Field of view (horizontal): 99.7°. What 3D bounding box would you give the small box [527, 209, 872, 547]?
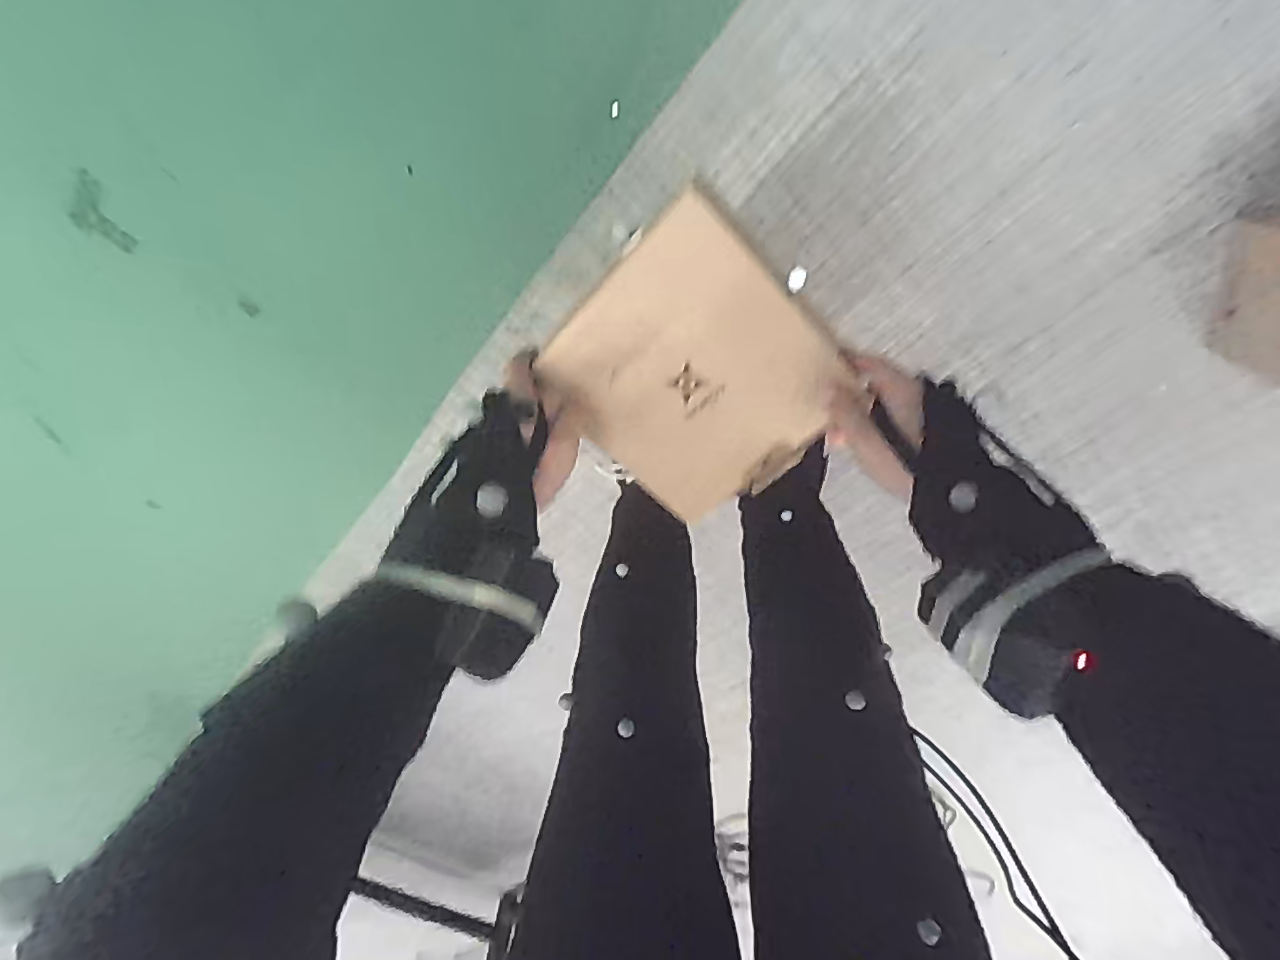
[{"bbox_3d":[0.046,-0.088,0.430,0.179,0.176,0.168,41,117,-17],"label":"small box"}]
